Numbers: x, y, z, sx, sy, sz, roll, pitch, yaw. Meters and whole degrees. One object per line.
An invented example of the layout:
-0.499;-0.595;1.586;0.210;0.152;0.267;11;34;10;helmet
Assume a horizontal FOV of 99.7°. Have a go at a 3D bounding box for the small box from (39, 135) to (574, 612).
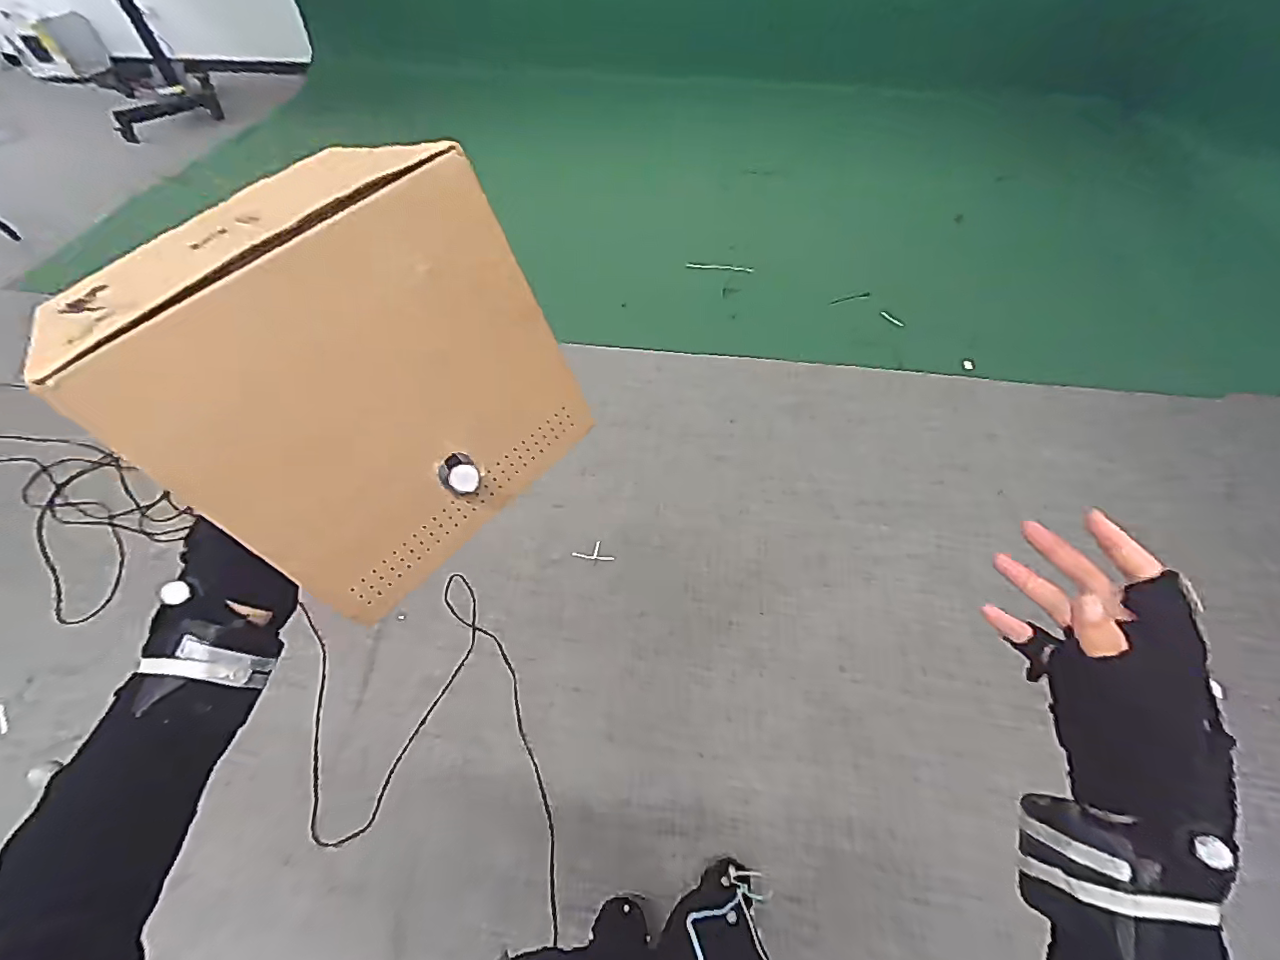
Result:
-0.157;-0.065;0.303;0.179;0.176;0.168;-44;47;-20;small box
